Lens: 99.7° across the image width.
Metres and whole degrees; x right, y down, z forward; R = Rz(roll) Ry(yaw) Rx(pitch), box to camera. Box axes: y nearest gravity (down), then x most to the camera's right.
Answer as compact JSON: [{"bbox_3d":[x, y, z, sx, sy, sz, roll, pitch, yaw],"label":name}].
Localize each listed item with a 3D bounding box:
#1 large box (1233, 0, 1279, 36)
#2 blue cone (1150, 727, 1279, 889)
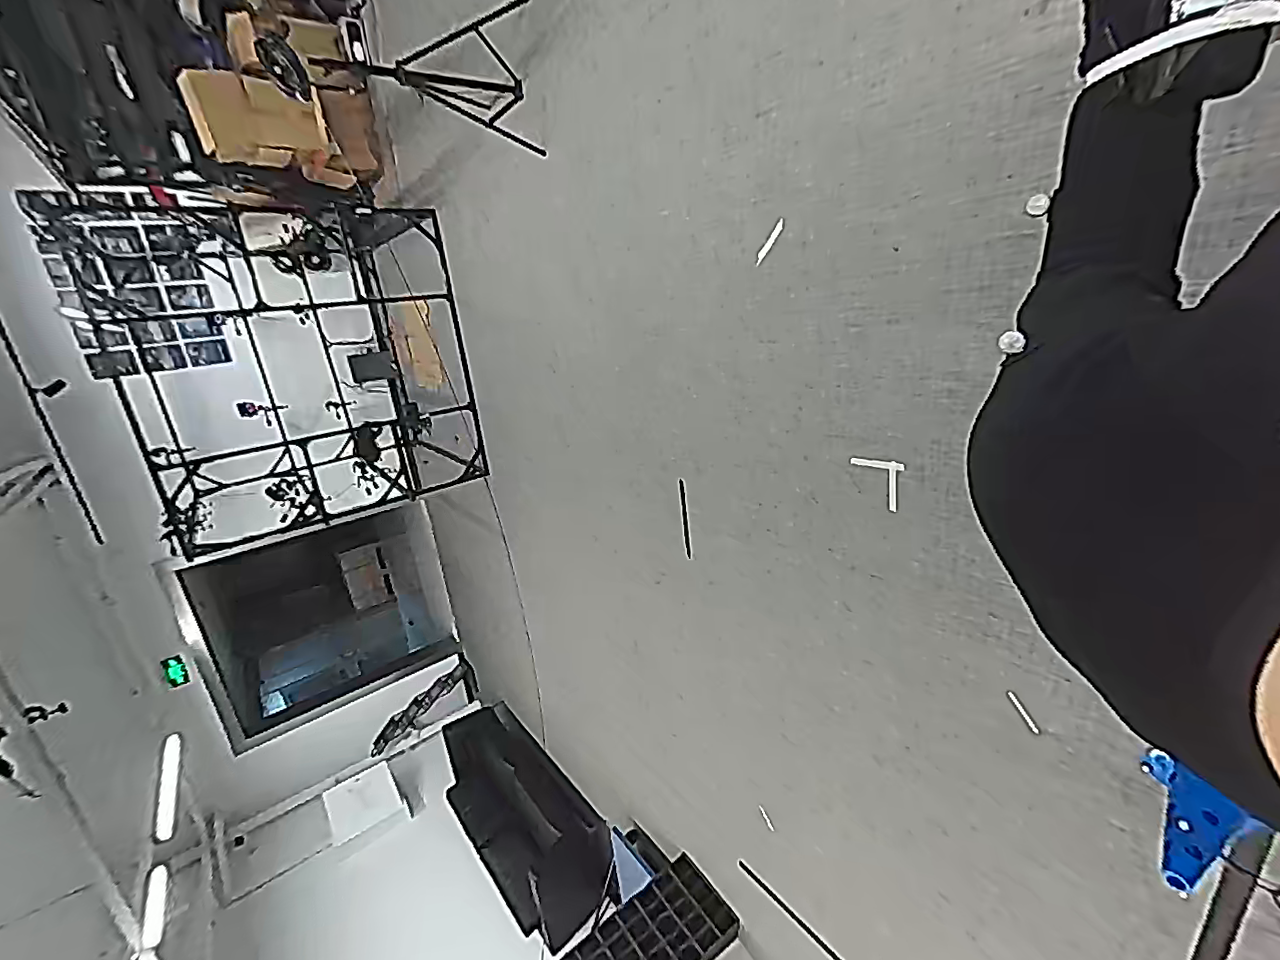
[{"bbox_3d":[0.565,-0.480,0.228,0.408,0.320,0.320,12,120,49],"label":"large box"},{"bbox_3d":[1.169,0.707,1.123,0.193,0.380,0.192,42,138,38],"label":"blue cone"}]
